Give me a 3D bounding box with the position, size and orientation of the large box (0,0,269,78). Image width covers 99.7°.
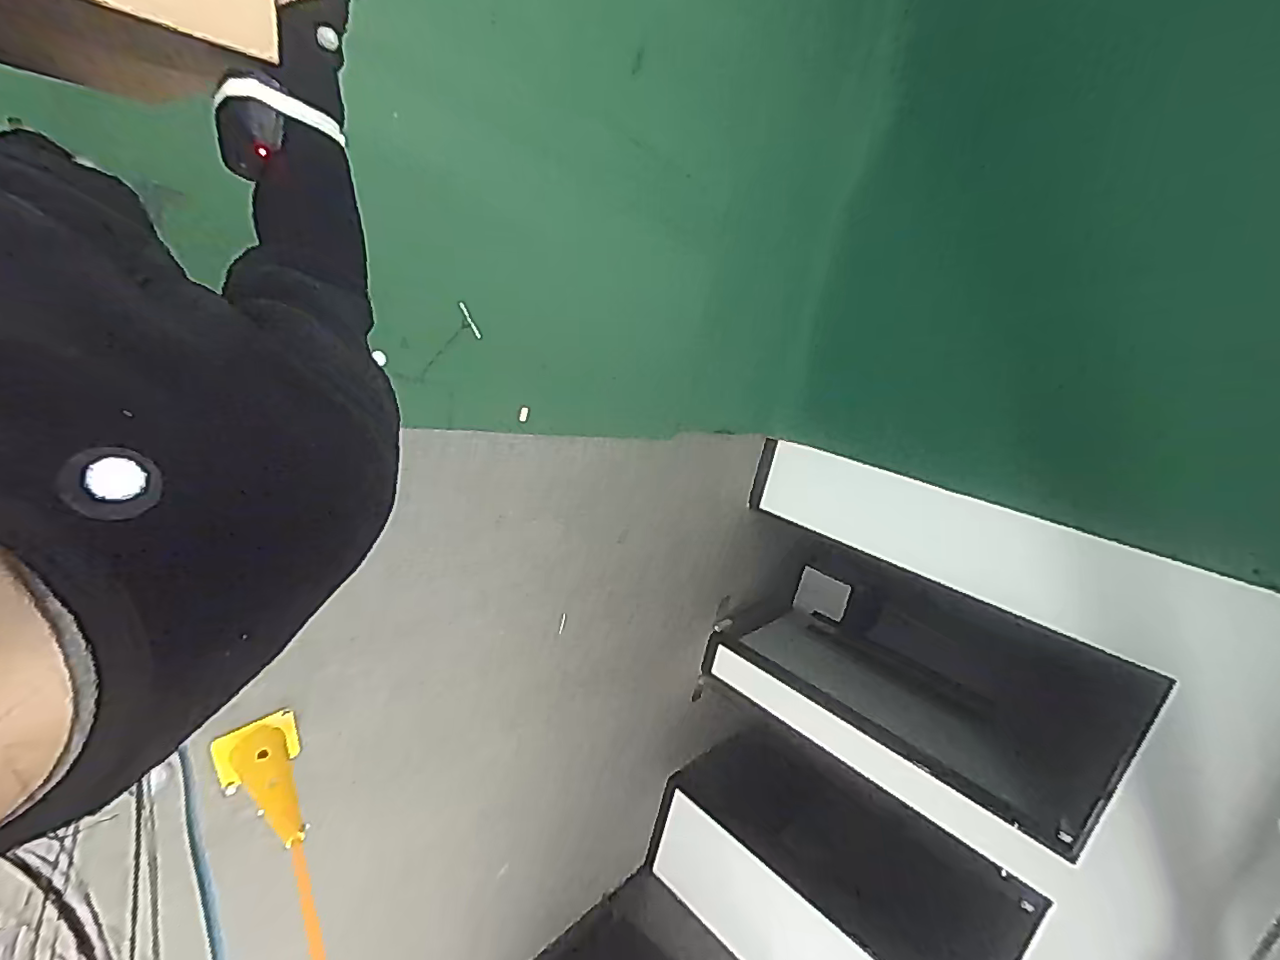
[{"bbox_3d":[-0.512,-0.483,0.306,0.408,0.320,0.320,-19,122,-50],"label":"large box"}]
